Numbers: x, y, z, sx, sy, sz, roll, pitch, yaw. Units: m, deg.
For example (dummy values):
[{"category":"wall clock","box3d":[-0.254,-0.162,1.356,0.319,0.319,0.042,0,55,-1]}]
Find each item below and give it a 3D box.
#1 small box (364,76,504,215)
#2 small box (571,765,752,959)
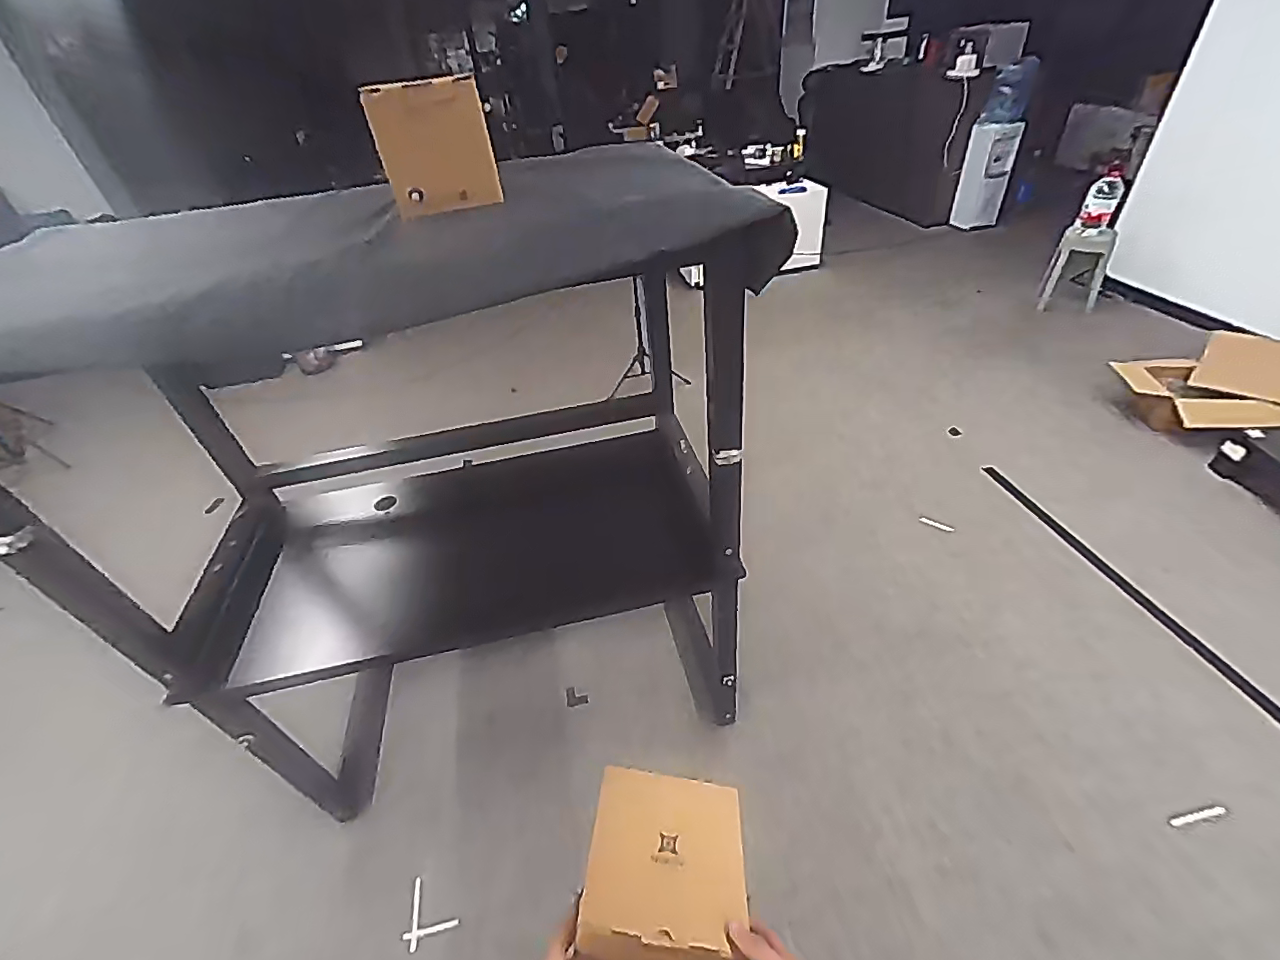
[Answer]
[{"category":"small box","box3d":[-0.326,-0.549,0.891,0.168,0.176,0.179,-13,39,-7]},{"category":"small box","box3d":[0.019,0.467,0.608,0.168,0.176,0.179,9,23,1]}]
